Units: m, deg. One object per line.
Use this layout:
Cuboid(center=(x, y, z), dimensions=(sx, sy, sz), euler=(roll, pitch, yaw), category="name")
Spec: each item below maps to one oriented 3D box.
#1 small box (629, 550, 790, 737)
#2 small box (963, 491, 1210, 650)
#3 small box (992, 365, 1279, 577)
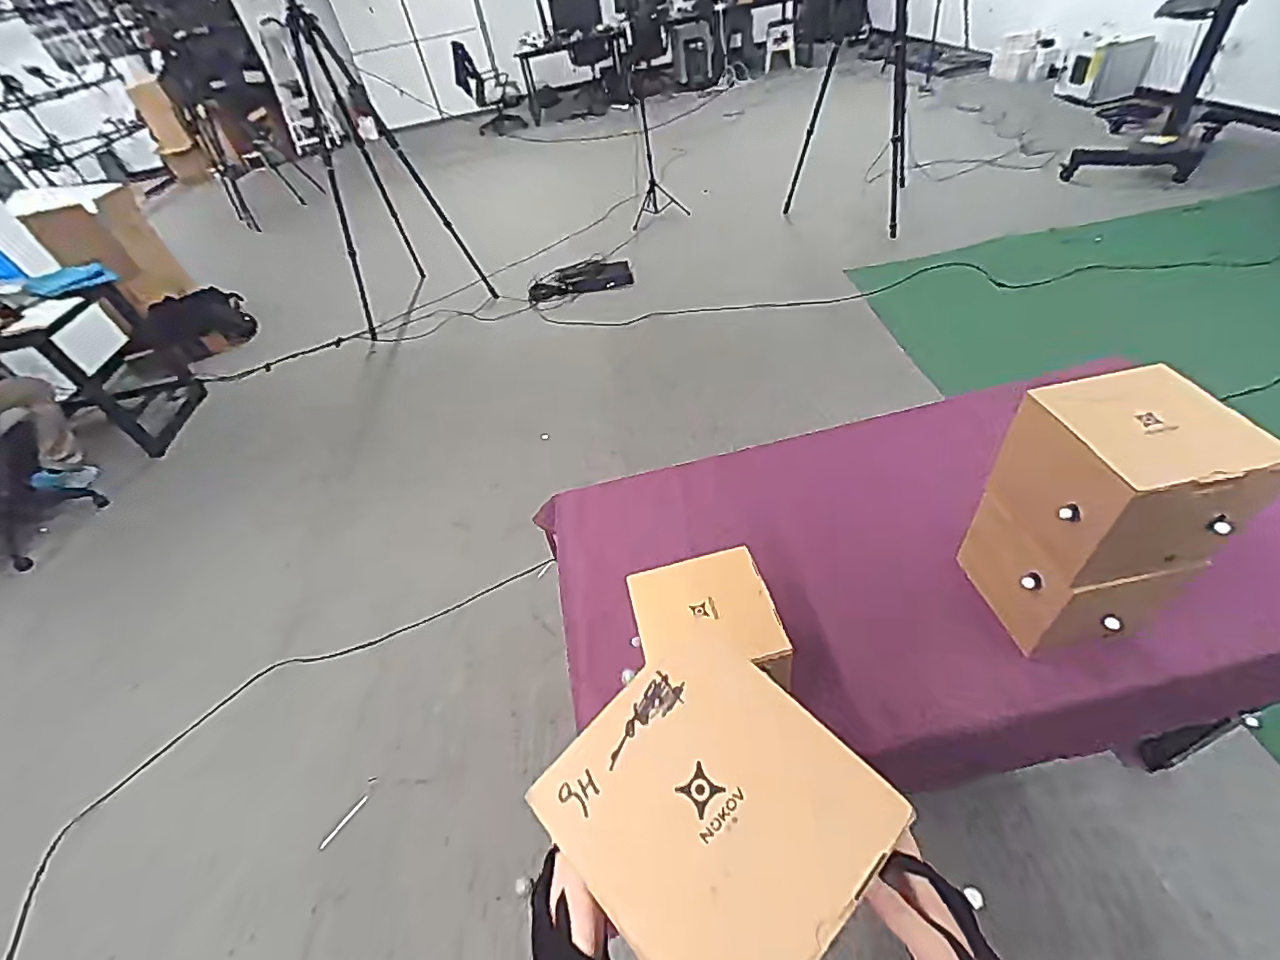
Cuboid(center=(0.095, 0.228, 0.748), dimensions=(0.179, 0.176, 0.168), euler=(-14, 43, -2), category="small box")
Cuboid(center=(0.585, 0.114, 0.742), dimensions=(0.168, 0.176, 0.179), euler=(-12, 44, 1), category="small box")
Cuboid(center=(0.557, -0.004, 0.632), dimensions=(0.168, 0.176, 0.179), euler=(-11, 43, 2), category="small box")
